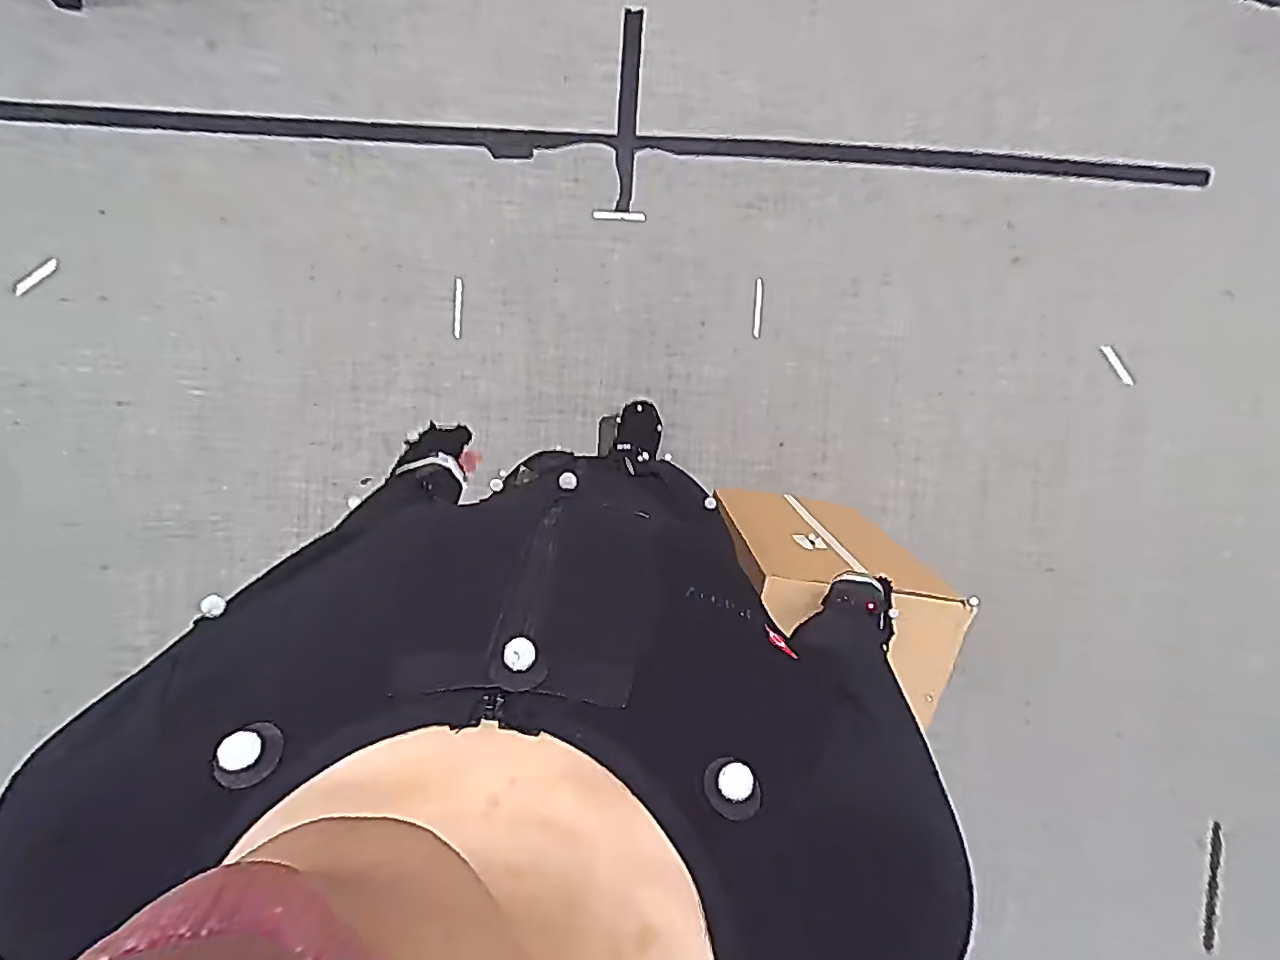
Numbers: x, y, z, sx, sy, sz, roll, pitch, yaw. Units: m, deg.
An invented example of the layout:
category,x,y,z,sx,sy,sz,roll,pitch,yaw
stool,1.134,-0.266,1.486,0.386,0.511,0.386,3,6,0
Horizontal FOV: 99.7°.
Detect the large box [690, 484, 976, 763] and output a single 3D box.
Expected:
category,x,y,z,sx,sy,sz,roll,pitch,yaw
large box,0.297,0.232,0.993,0.320,0.408,0.320,8,107,-6
